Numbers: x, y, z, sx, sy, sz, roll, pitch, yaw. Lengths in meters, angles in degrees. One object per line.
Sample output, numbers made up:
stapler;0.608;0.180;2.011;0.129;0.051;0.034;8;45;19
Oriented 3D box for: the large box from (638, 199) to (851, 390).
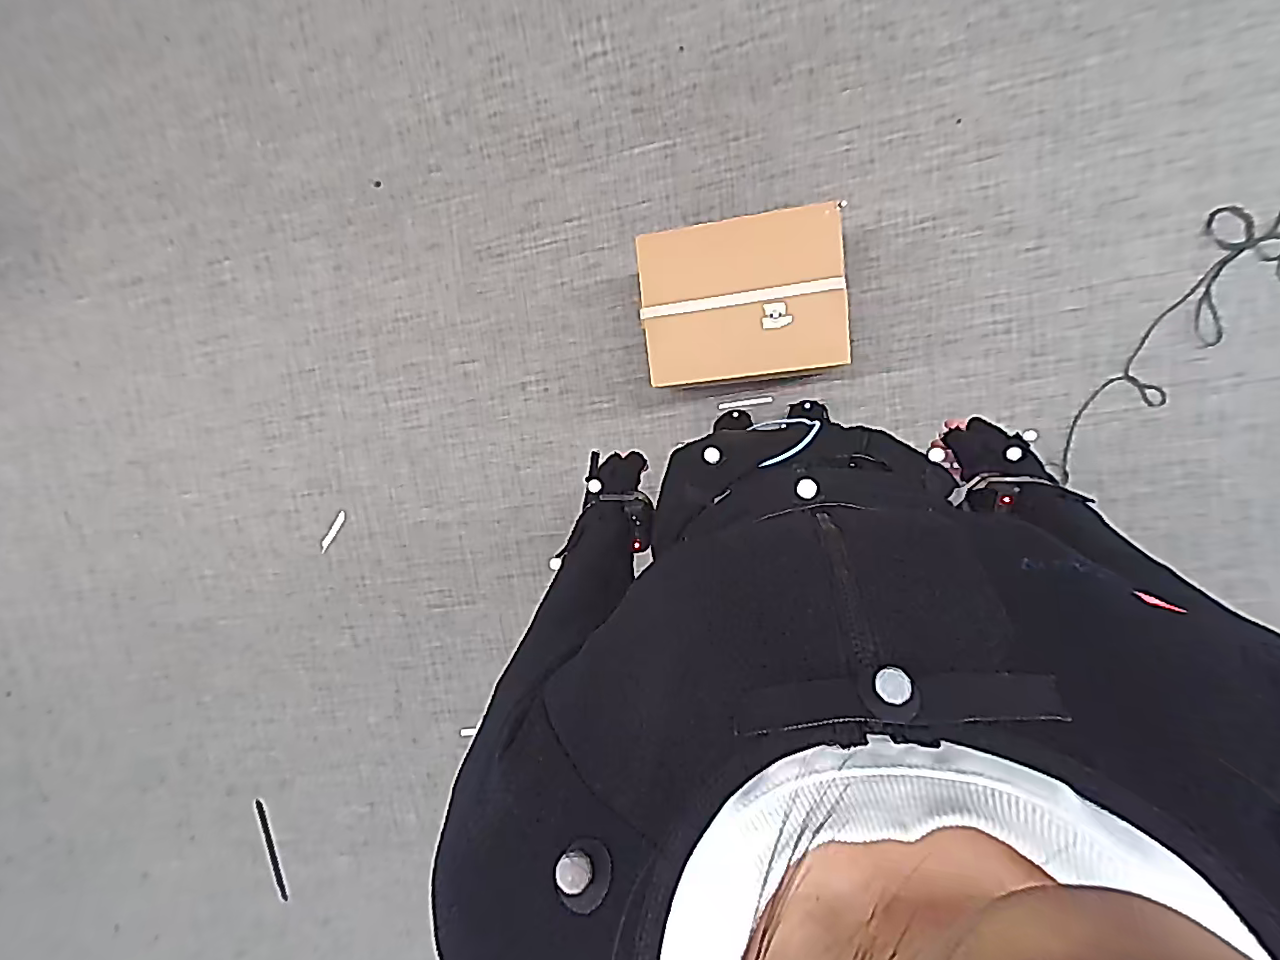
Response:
large box;0.232;-0.391;1.239;0.408;0.320;0.320;-5;98;11
